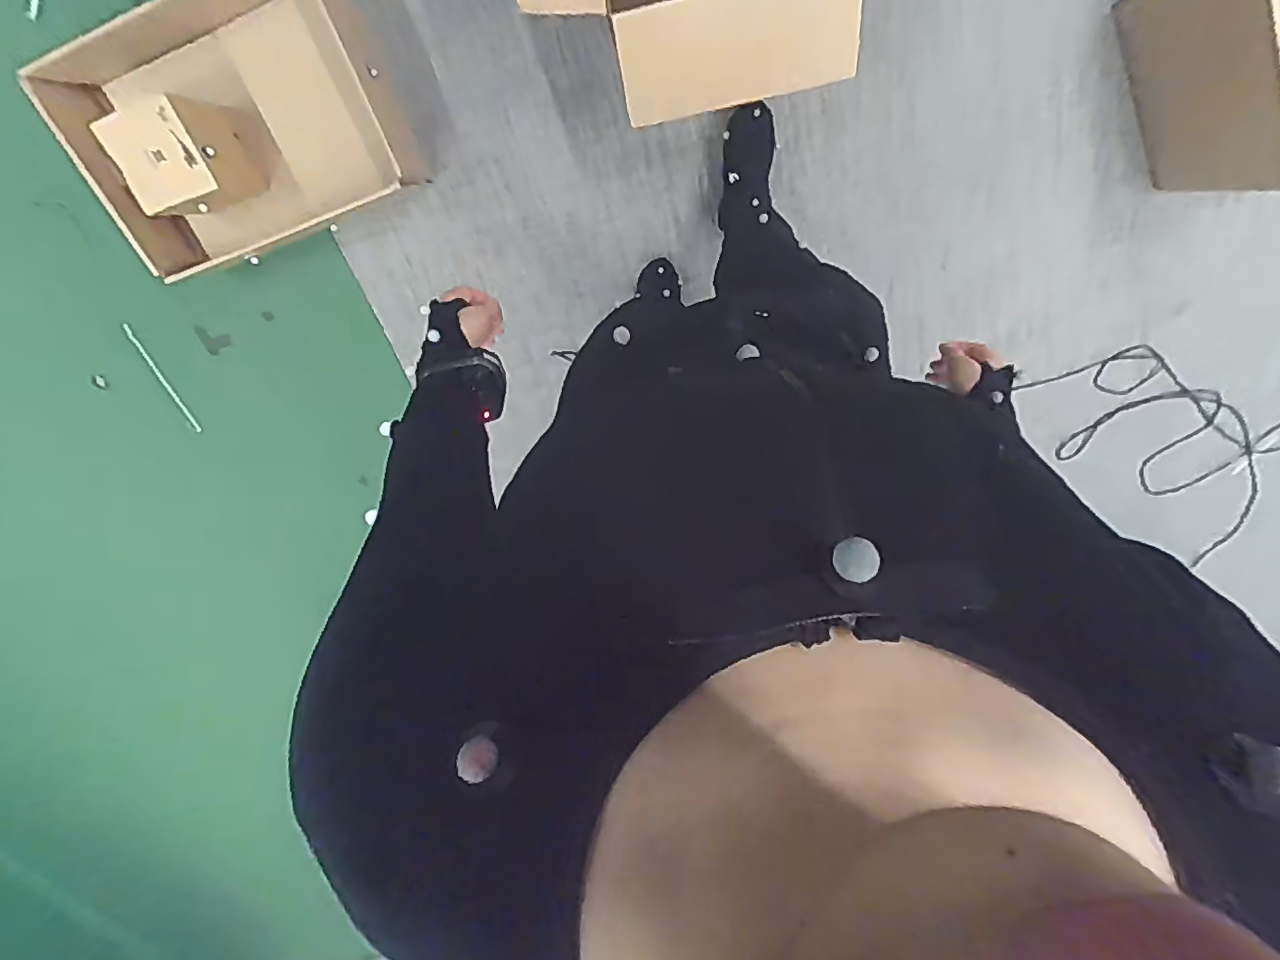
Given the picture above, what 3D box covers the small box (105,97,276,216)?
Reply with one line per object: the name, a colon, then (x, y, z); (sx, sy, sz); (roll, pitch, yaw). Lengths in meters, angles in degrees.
small box: (-0.920, -0.661, 1.127); (0.179, 0.176, 0.168); (-15, 115, 9)
